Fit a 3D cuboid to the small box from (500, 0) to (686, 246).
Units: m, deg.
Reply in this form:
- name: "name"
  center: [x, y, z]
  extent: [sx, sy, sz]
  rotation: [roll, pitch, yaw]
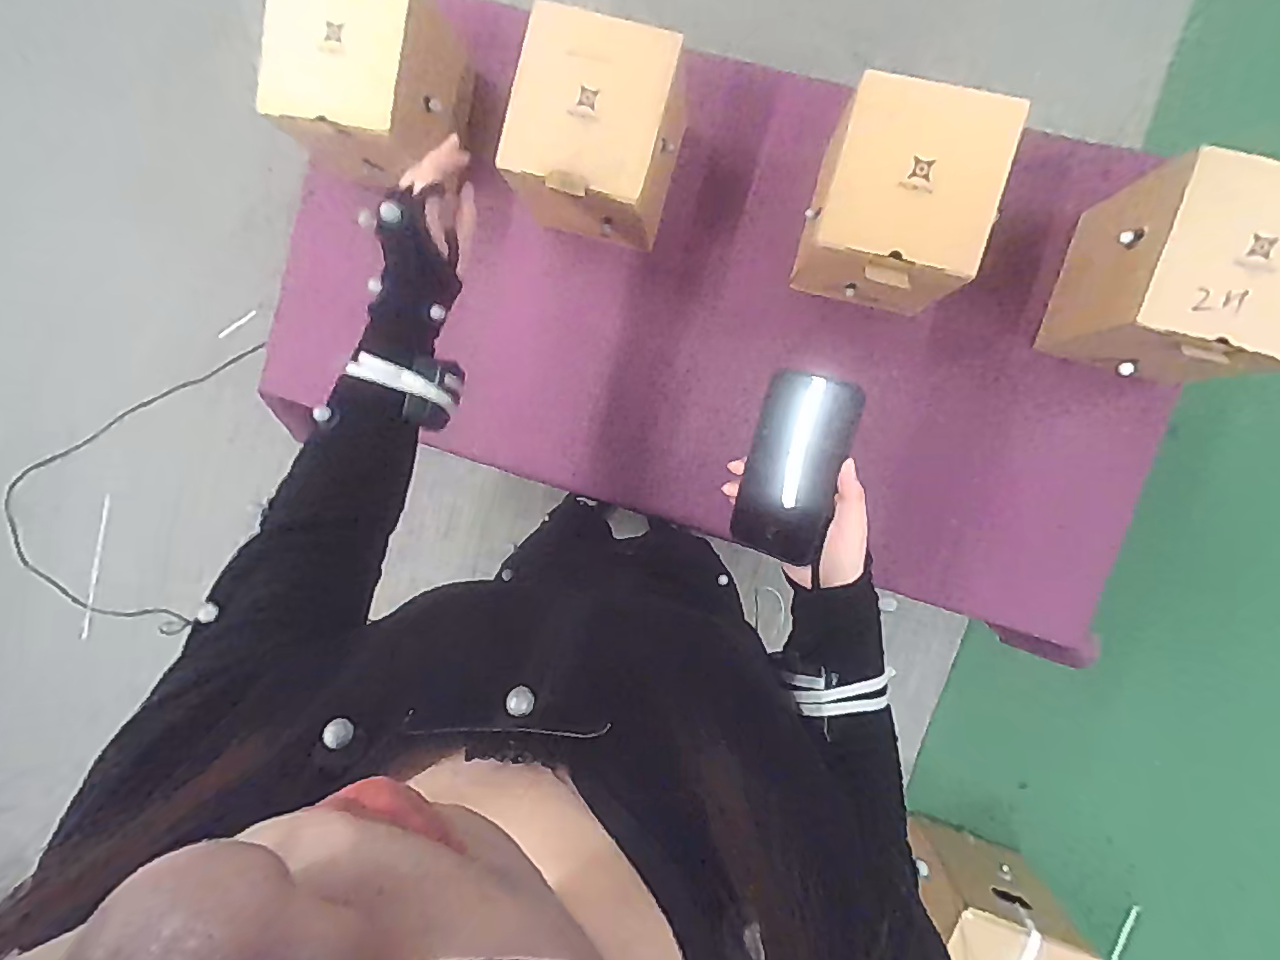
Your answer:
- name: "small box"
  center: [-0.044, -0.408, 0.650]
  extent: [0.168, 0.176, 0.179]
  rotation: [17, 97, 4]

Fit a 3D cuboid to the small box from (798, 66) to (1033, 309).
- name: "small box"
  center: [0.292, -0.316, 0.619]
  extent: [0.168, 0.176, 0.179]
  rotation: [15, 97, 5]

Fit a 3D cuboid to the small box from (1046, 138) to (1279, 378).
- name: "small box"
  center: [0.595, -0.223, 0.588]
  extent: [0.168, 0.176, 0.179]
  rotation: [17, 97, 6]

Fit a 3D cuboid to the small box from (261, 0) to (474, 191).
- name: "small box"
  center: [-0.324, -0.490, 0.672]
  extent: [0.168, 0.176, 0.179]
  rotation: [13, 97, 5]
